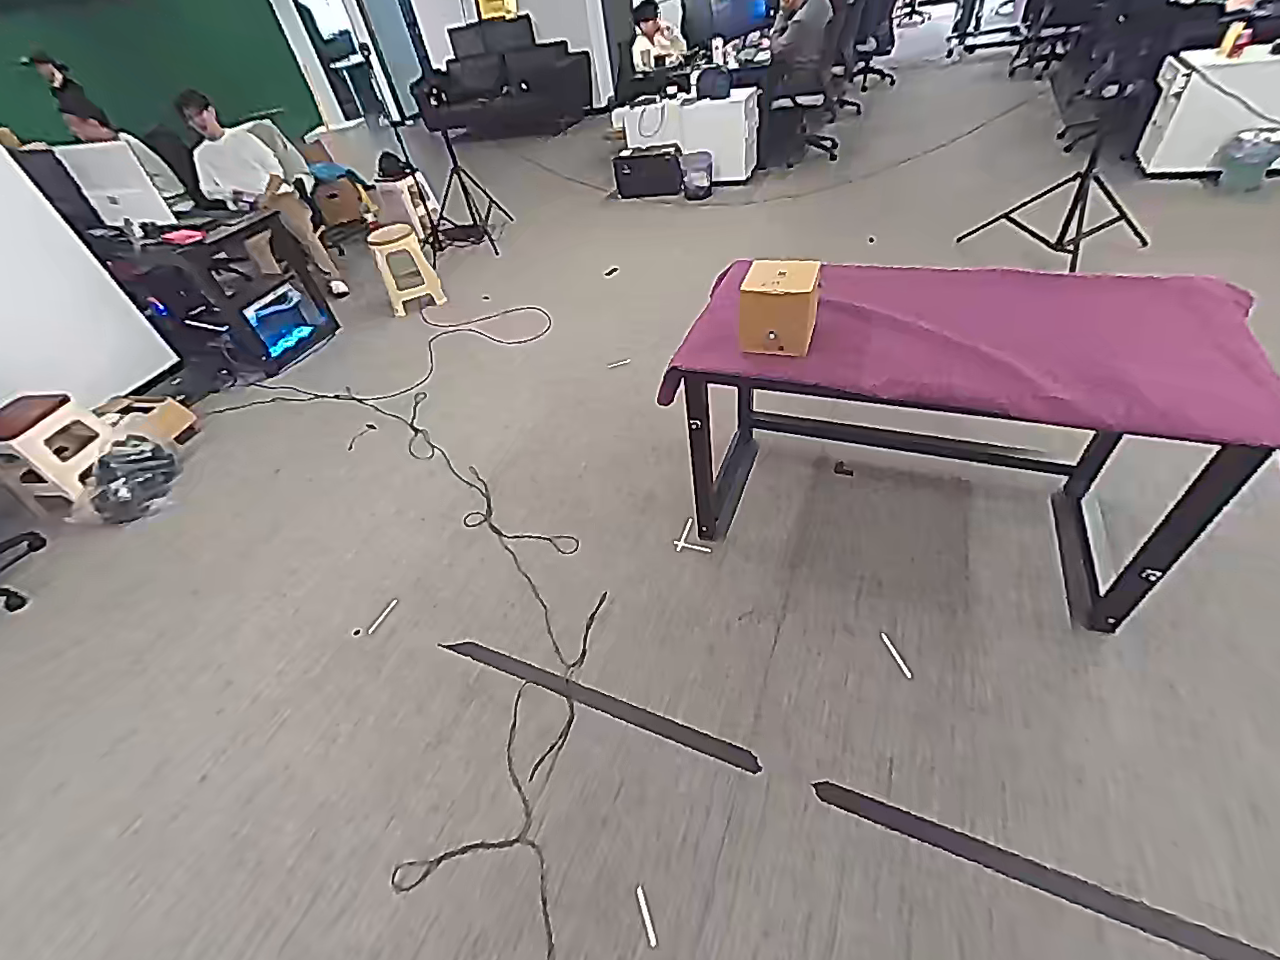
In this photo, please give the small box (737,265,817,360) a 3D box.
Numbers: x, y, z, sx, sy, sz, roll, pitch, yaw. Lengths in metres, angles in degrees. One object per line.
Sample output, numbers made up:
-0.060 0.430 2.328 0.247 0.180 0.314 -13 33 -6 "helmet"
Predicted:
0.343 -0.424 1.362 0.168 0.176 0.179 9 46 20 "small box"
